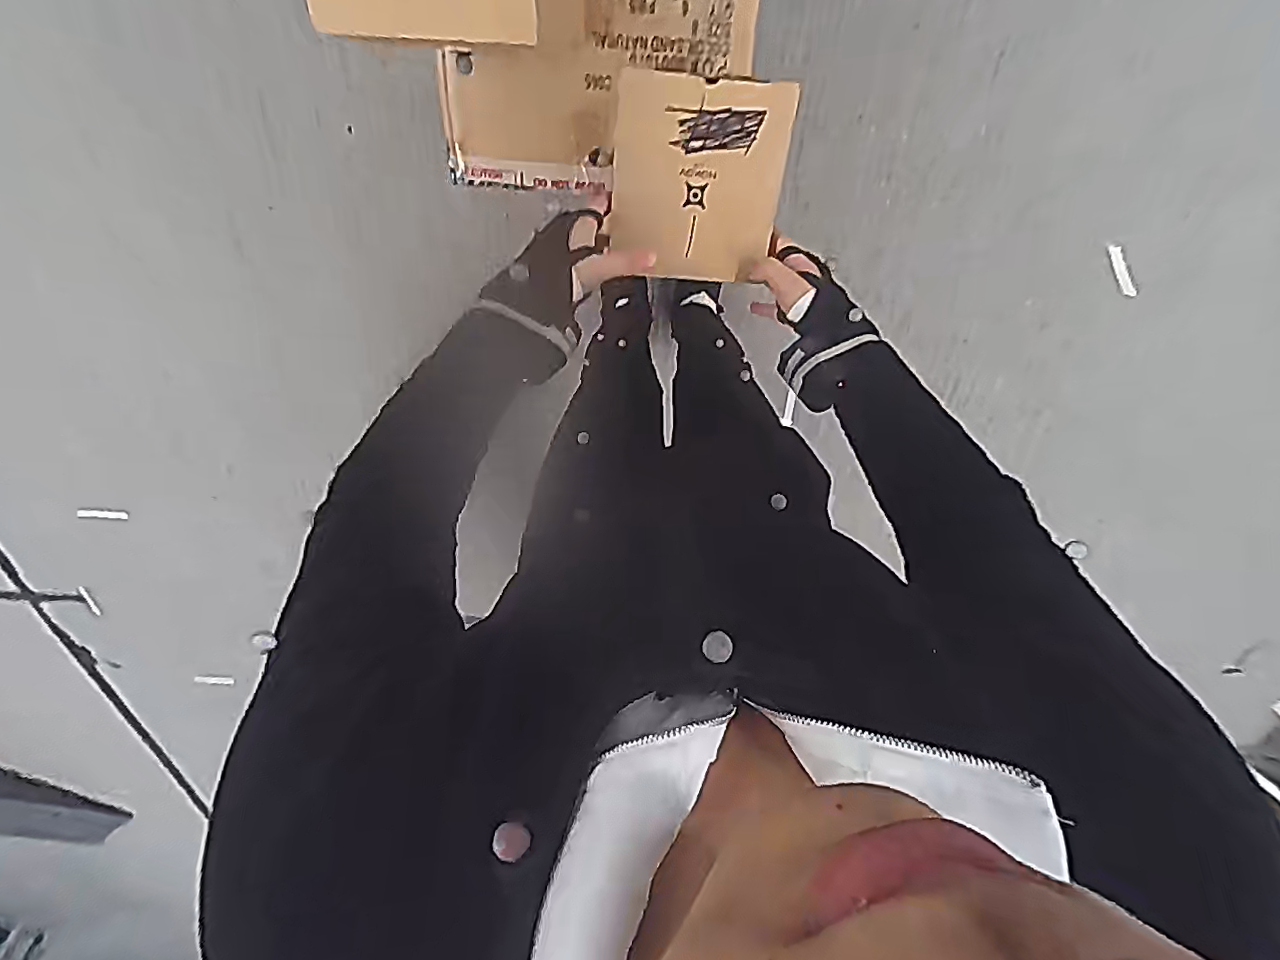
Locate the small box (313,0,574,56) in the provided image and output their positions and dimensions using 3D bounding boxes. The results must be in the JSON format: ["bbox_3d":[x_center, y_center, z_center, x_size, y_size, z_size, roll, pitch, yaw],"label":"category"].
[{"bbox_3d":[-0.143,-0.437,0.405,0.168,0.176,0.179,3,127,1],"label":"small box"}]

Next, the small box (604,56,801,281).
[{"bbox_3d":[0.049,-0.331,0.586,0.168,0.176,0.179,2,123,-7],"label":"small box"}]
